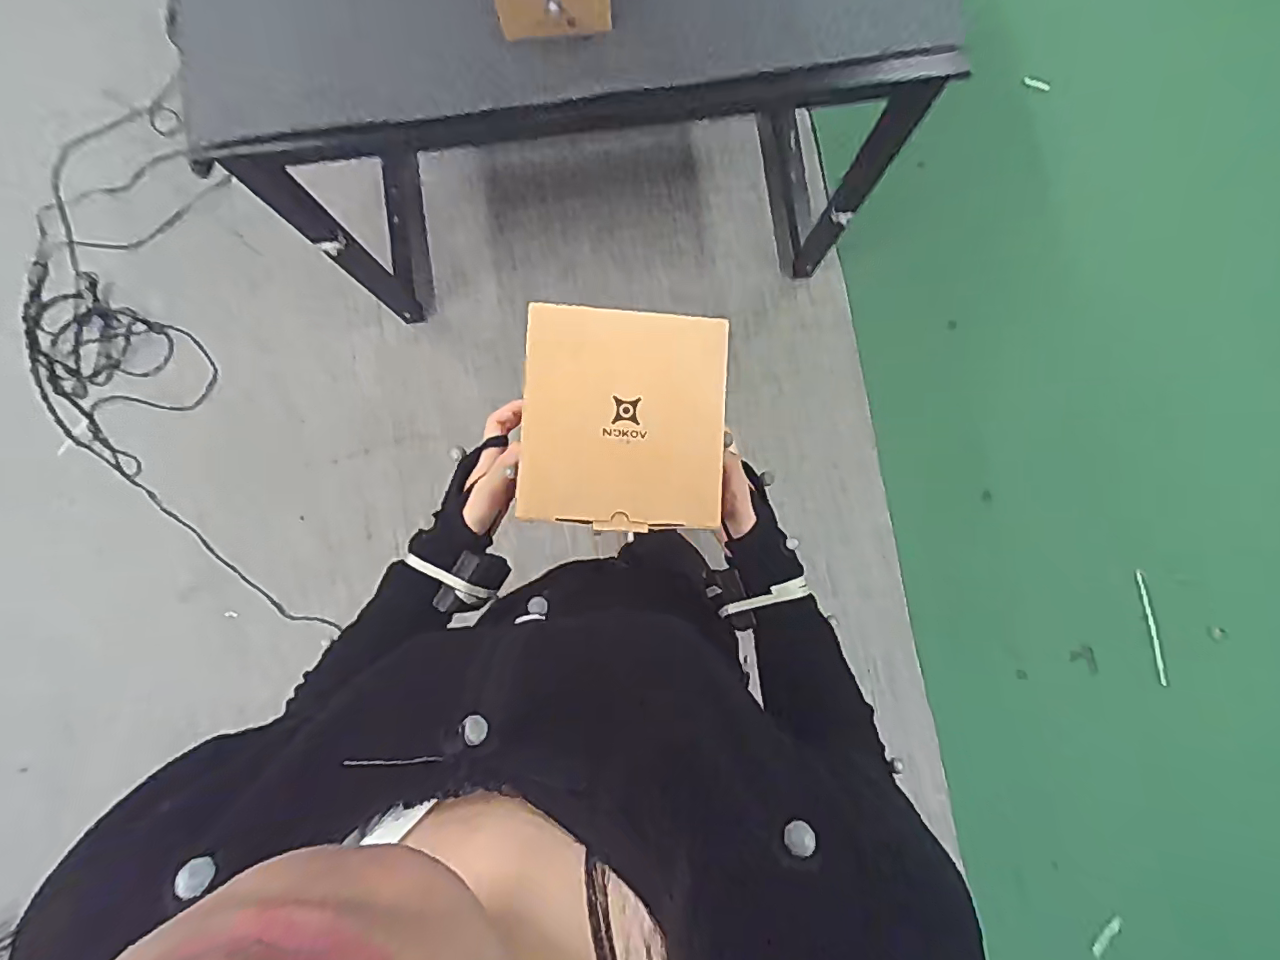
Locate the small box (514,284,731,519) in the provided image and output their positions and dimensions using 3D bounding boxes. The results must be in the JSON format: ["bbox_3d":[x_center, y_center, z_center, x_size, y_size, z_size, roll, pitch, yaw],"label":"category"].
[{"bbox_3d":[-0.021,-0.055,0.498,0.168,0.176,0.179,2,86,-7],"label":"small box"}]

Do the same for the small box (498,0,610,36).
[{"bbox_3d":[-0.132,-0.773,0.750,0.168,0.176,0.179,-6,84,-1],"label":"small box"}]
